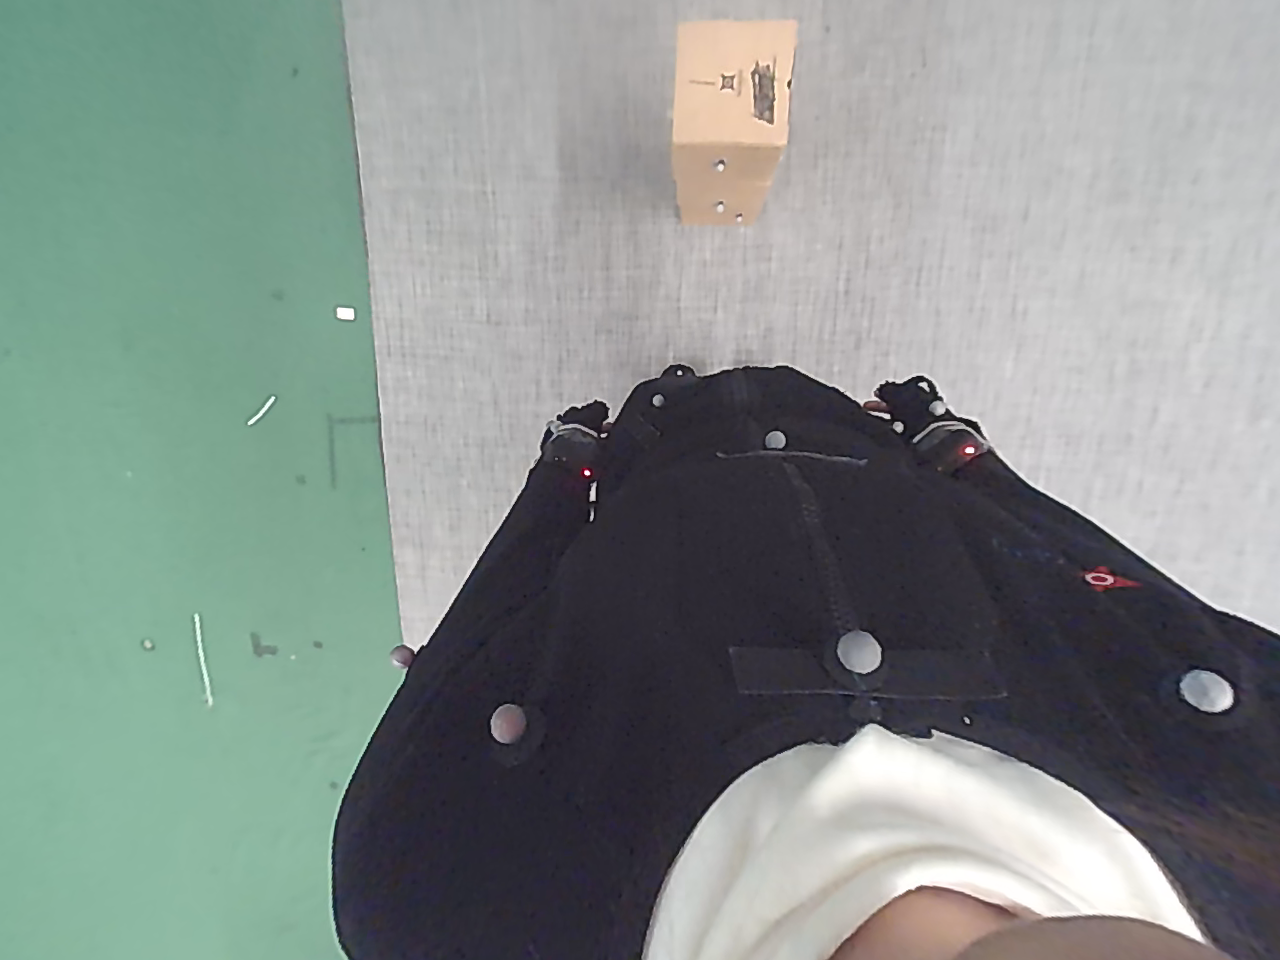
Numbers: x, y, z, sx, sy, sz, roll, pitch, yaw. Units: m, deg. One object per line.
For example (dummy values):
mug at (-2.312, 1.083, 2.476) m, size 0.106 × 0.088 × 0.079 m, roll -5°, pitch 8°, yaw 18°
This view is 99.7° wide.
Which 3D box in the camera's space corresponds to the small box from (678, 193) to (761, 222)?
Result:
small box at (0.176, -0.685, 1.204) m, size 0.179 × 0.176 × 0.168 m, roll 2°, pitch 102°, yaw 6°

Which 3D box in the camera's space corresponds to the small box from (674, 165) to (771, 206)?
small box at (0.161, -0.644, 1.046) m, size 0.179 × 0.176 × 0.168 m, roll 6°, pitch 103°, yaw 3°

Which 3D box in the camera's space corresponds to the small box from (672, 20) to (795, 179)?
small box at (0.143, -0.610, 0.886) m, size 0.179 × 0.176 × 0.168 m, roll 1°, pitch 103°, yaw 4°
